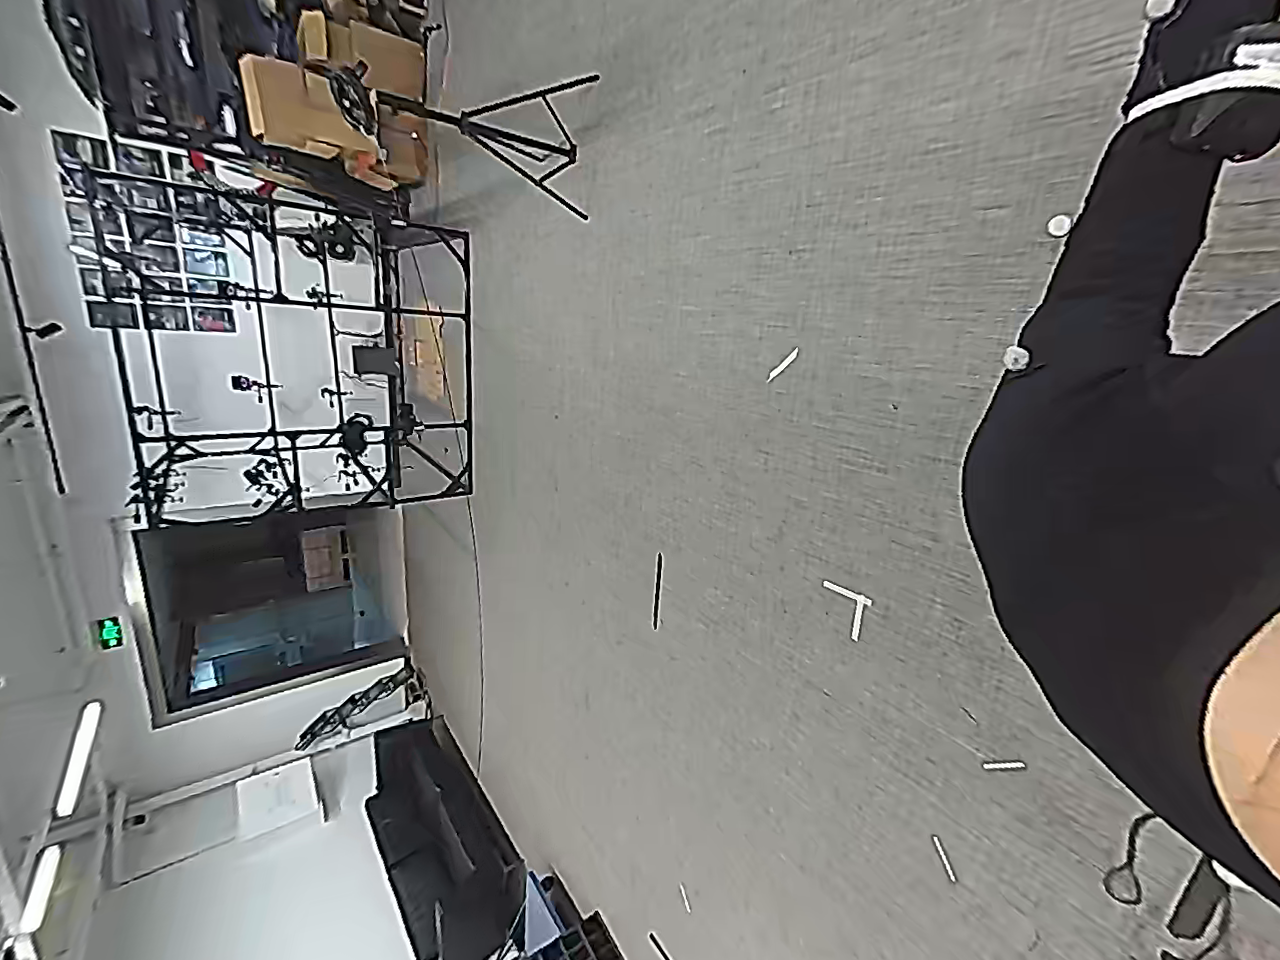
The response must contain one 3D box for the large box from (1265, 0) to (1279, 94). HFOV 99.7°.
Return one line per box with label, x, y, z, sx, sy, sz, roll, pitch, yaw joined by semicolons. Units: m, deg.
large box;0.654;-0.405;0.258;0.408;0.320;0.320;22;118;49
